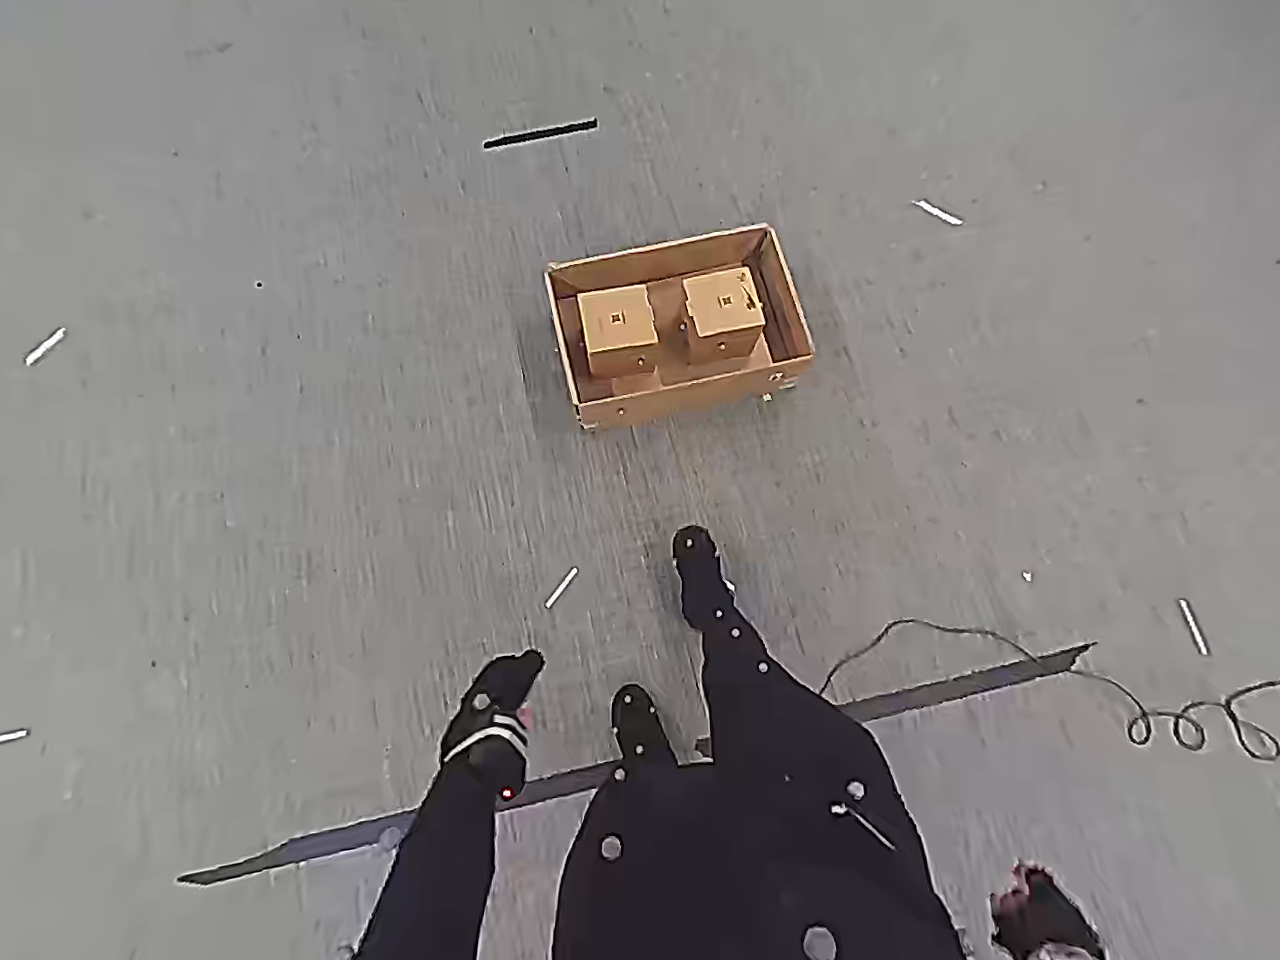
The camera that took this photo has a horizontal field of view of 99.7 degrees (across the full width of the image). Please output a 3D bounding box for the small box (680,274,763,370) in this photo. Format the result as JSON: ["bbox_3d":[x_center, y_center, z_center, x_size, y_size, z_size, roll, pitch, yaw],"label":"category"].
[{"bbox_3d":[0.205,-0.408,1.427,0.179,0.176,0.168,-13,77,-3],"label":"small box"}]

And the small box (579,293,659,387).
[{"bbox_3d":[-0.057,-0.361,1.409,0.179,0.176,0.168,-10,76,-4],"label":"small box"}]
